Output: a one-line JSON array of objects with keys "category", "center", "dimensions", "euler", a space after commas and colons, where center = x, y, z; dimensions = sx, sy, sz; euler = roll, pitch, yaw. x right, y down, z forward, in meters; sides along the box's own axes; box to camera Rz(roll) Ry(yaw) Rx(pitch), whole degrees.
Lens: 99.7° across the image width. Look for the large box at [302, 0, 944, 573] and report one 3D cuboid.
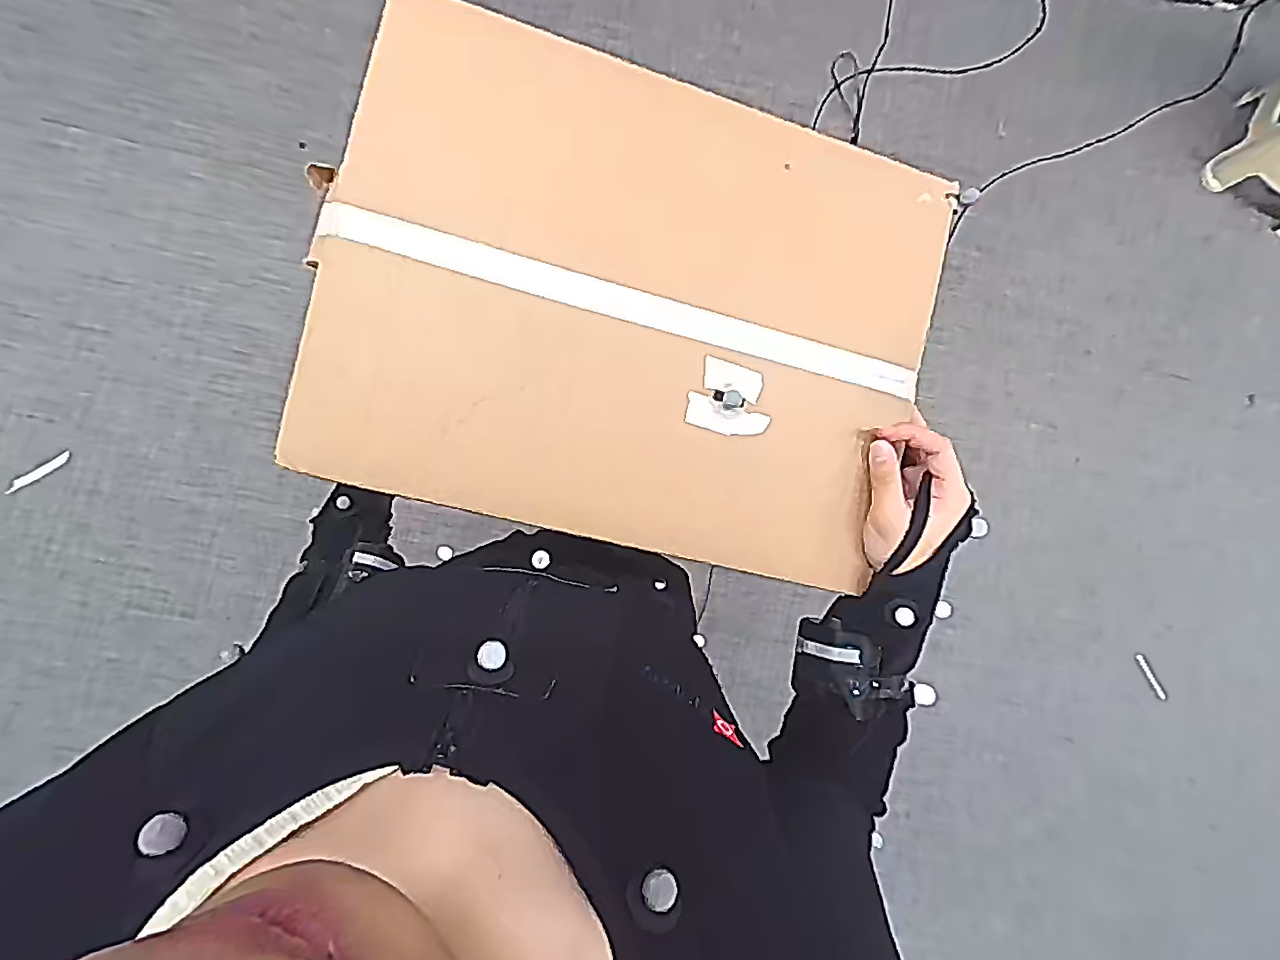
[{"category": "large box", "center": [-0.017, -0.121, 0.518], "dimensions": [0.408, 0.320, 0.320], "euler": [13, 90, -11]}]
